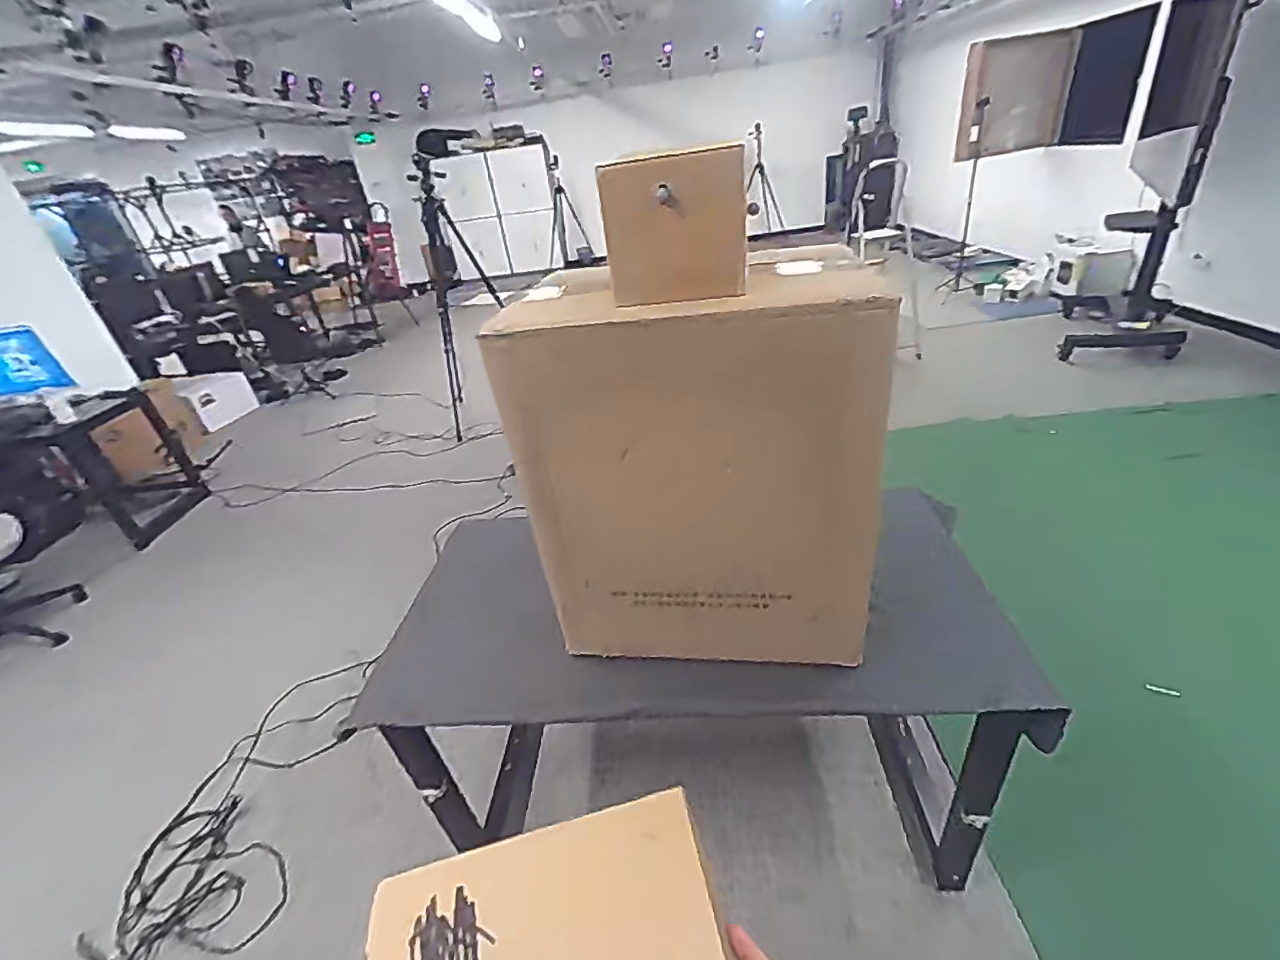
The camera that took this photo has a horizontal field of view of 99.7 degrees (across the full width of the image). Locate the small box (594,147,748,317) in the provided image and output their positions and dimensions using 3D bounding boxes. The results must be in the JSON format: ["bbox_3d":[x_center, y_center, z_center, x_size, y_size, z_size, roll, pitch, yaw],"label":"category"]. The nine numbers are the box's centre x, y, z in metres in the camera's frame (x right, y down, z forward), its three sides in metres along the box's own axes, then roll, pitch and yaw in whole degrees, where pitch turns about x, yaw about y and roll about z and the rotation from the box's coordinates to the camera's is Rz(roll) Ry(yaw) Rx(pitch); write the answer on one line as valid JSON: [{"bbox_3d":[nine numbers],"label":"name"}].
[{"bbox_3d":[0.055,-0.329,0.720,0.179,0.176,0.168,-2,34,12],"label":"small box"}]
